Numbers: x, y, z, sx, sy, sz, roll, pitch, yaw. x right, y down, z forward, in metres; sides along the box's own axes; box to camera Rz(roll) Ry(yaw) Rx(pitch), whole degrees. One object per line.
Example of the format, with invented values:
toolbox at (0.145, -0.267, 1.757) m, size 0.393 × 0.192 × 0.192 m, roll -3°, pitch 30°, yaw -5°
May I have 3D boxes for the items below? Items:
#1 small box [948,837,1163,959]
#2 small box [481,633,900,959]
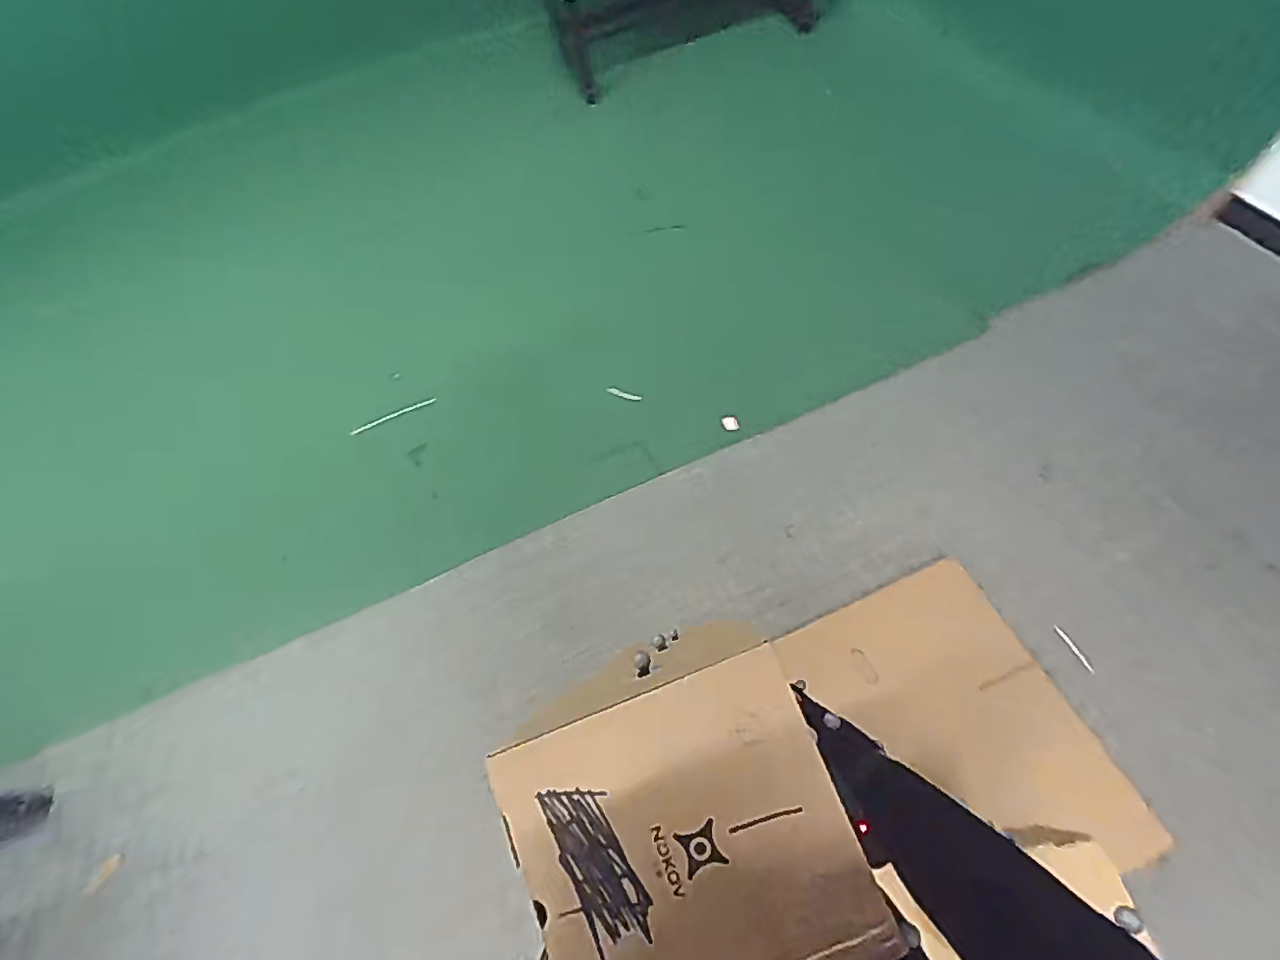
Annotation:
small box at (0.576, 0.623, 0.766) m, size 0.168 × 0.176 × 0.179 m, roll -12°, pitch 61°, yaw 1°
small box at (0.025, 0.213, 0.359) m, size 0.179 × 0.176 × 0.168 m, roll -22°, pitch 77°, yaw -2°
